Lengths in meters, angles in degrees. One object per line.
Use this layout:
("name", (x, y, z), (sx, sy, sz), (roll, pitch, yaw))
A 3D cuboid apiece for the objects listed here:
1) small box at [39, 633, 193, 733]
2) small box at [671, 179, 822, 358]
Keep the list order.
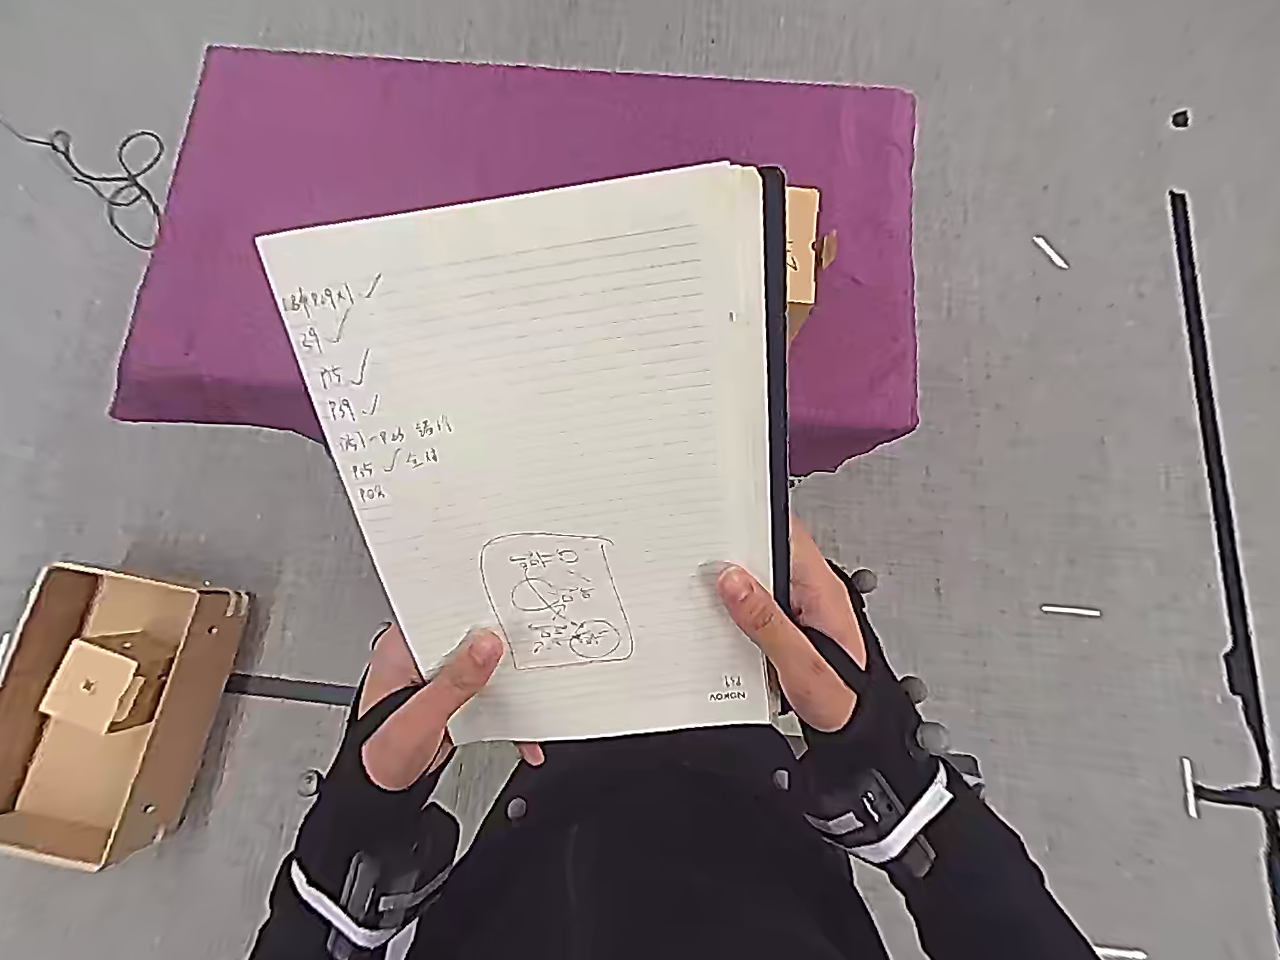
("small box", (-1.245, 0.478, 1.303), (0.179, 0.176, 0.168), (19, 79, 4))
("small box", (0.139, -0.284, 0.756), (0.179, 0.176, 0.168), (7, 78, 2))
